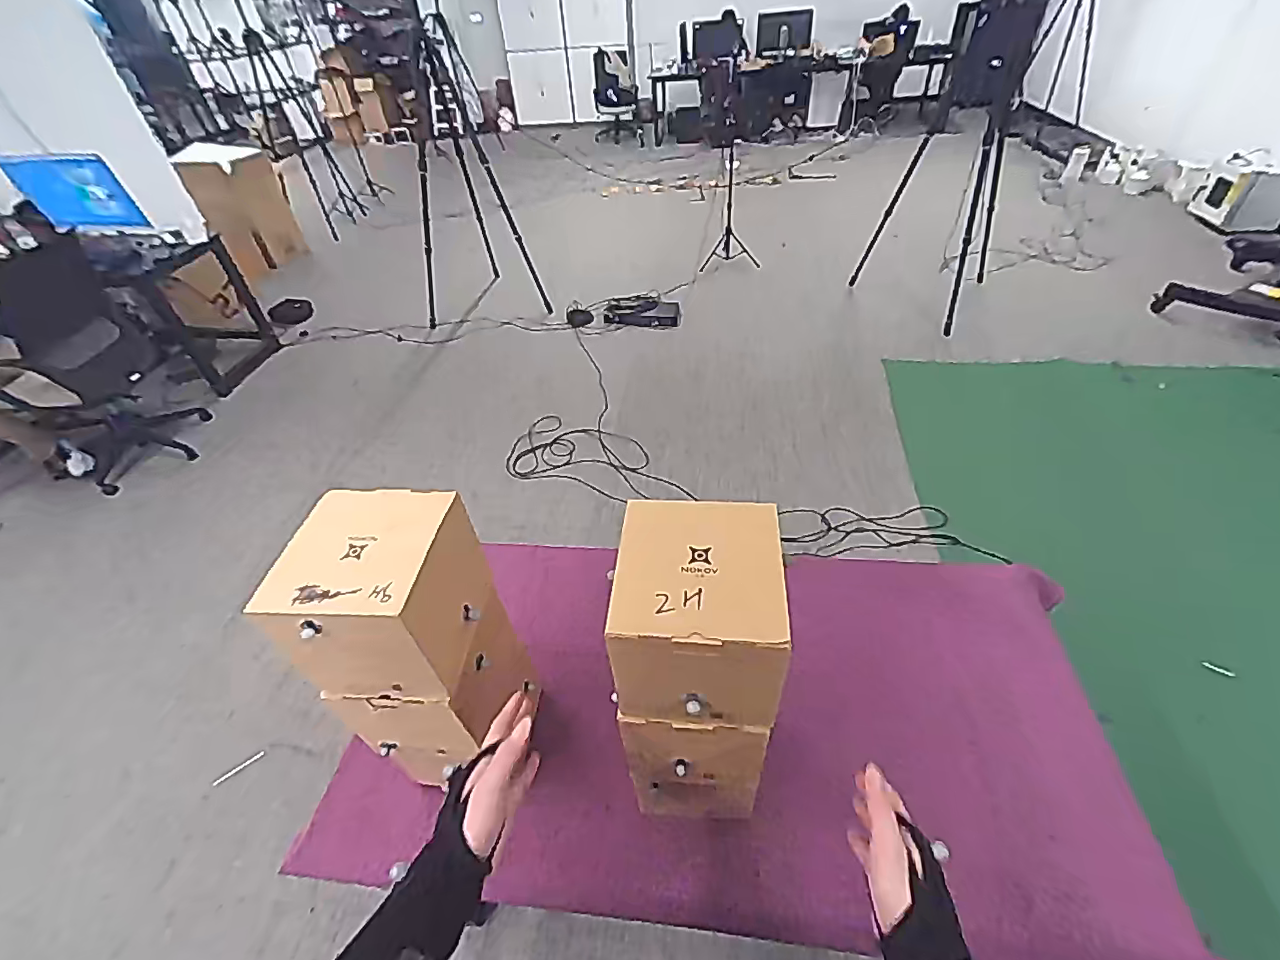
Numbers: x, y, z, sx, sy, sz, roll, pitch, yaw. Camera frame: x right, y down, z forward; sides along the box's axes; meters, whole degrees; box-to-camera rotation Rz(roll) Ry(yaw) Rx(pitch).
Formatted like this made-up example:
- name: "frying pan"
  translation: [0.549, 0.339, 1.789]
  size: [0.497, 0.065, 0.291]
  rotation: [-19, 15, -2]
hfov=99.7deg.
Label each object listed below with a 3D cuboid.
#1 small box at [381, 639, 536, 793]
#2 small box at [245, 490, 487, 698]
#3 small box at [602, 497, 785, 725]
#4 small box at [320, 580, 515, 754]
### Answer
- name: "small box"
  translation: [-0.272, 0.369, 0.861]
  size: [0.168, 0.176, 0.179]
  rotation: [0, 44, 7]
- name: "small box"
  translation: [-0.296, 0.130, 0.637]
  size: [0.168, 0.176, 0.179]
  rotation: [-1, 42, 8]
- name: "small box"
  translation: [0.060, 0.139, 0.590]
  size: [0.168, 0.176, 0.179]
  rotation: [1, 43, 8]
- name: "small box"
  translation: [-0.285, 0.256, 0.744]
  size: [0.168, 0.176, 0.179]
  rotation: [0, 42, 7]
